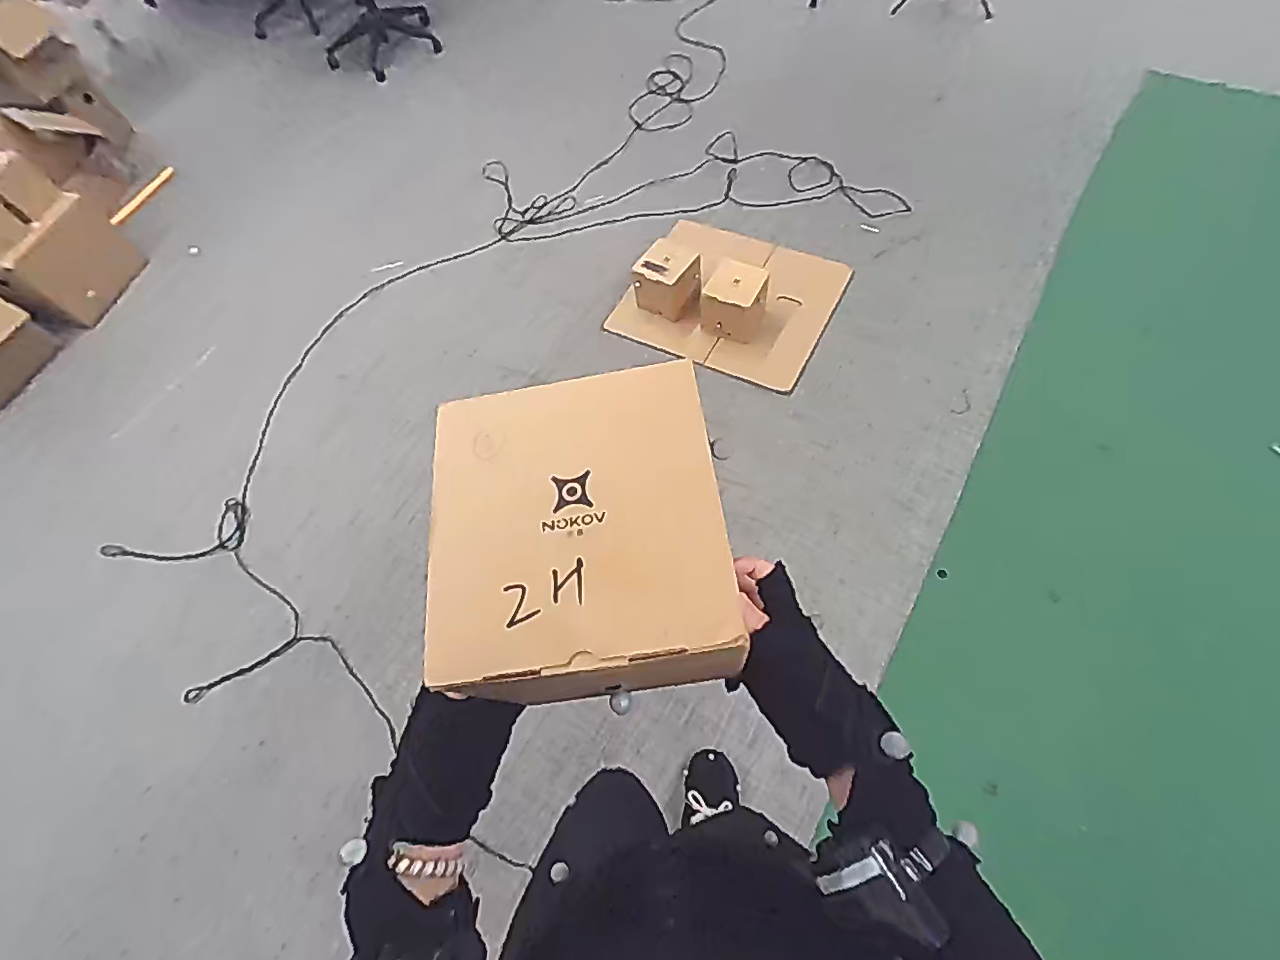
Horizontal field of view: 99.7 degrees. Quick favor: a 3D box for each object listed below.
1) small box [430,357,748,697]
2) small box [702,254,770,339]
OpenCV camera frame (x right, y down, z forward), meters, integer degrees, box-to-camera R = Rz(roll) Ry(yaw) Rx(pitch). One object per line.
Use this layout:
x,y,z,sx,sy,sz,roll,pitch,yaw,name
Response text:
-0.026,0.045,0.378,0.168,0.176,0.179,-10,65,4,small box
0.308,-0.600,1.775,0.168,0.176,0.179,23,69,16,small box
